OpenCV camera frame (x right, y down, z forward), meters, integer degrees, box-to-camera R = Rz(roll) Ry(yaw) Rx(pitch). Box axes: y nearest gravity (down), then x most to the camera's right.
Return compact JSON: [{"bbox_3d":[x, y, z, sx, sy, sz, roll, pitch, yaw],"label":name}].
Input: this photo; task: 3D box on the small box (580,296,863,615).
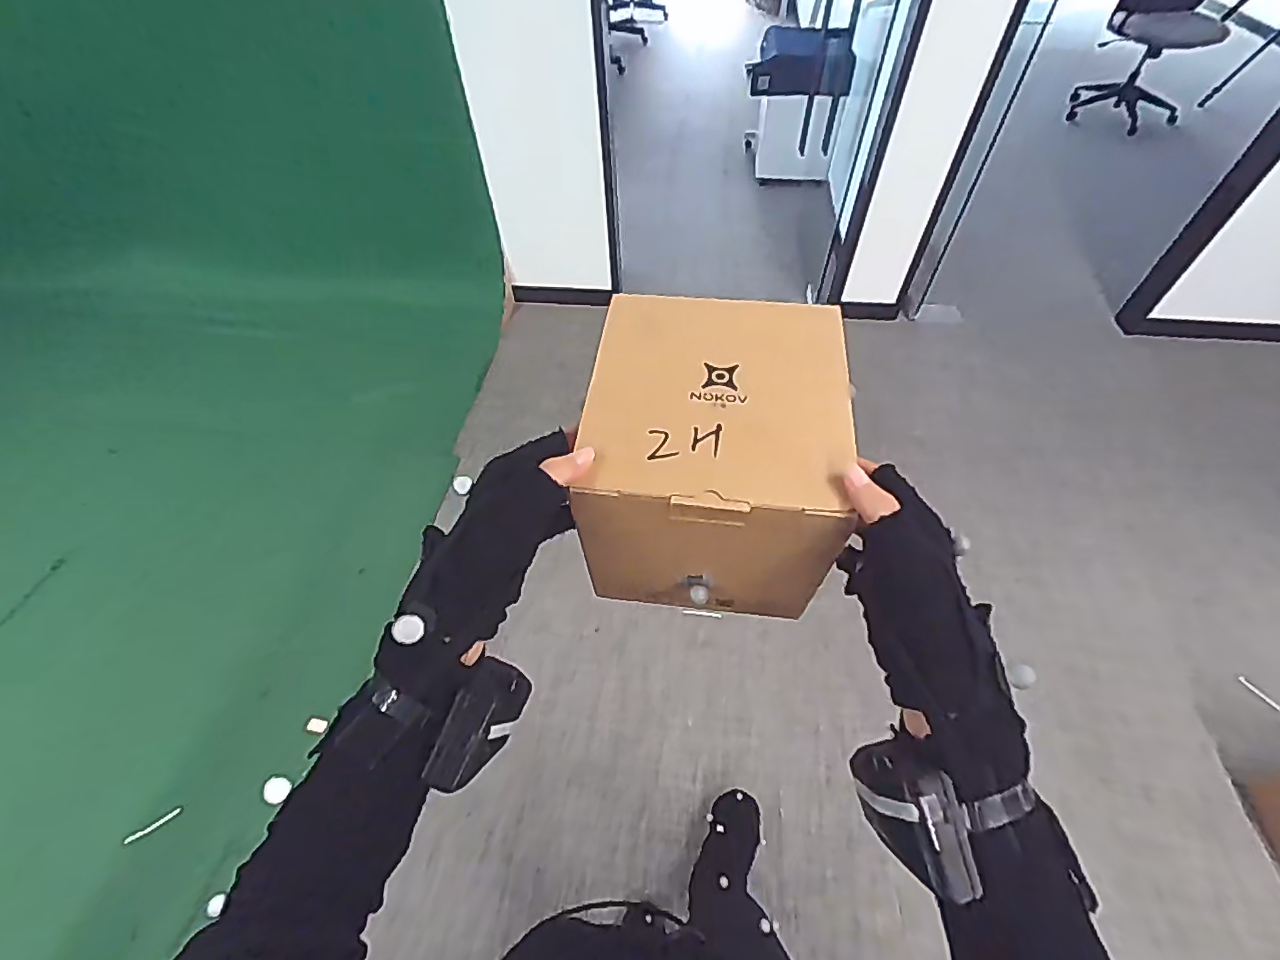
[{"bbox_3d":[0.059,-0.015,0.420,0.168,0.176,0.179,5,57,7],"label":"small box"}]
